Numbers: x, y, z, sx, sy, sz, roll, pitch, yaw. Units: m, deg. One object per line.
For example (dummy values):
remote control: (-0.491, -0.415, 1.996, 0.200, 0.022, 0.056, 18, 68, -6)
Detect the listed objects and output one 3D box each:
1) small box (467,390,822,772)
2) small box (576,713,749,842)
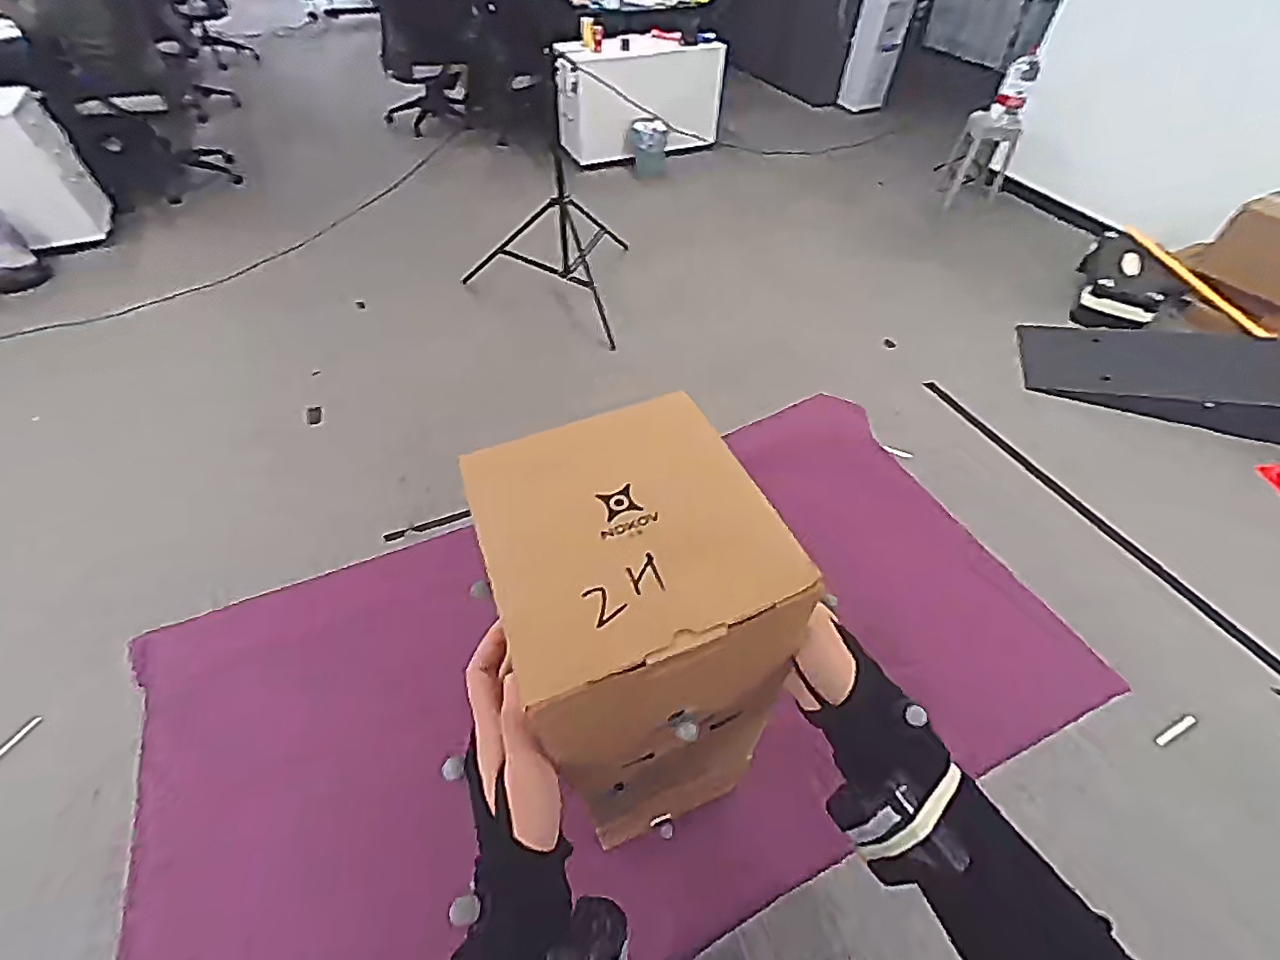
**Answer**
small box: (-0.007, 0.069, 0.380, 0.168, 0.176, 0.179, -18, 51, -13)
small box: (0.001, 0.286, 0.629, 0.168, 0.176, 0.179, -18, 54, -15)
